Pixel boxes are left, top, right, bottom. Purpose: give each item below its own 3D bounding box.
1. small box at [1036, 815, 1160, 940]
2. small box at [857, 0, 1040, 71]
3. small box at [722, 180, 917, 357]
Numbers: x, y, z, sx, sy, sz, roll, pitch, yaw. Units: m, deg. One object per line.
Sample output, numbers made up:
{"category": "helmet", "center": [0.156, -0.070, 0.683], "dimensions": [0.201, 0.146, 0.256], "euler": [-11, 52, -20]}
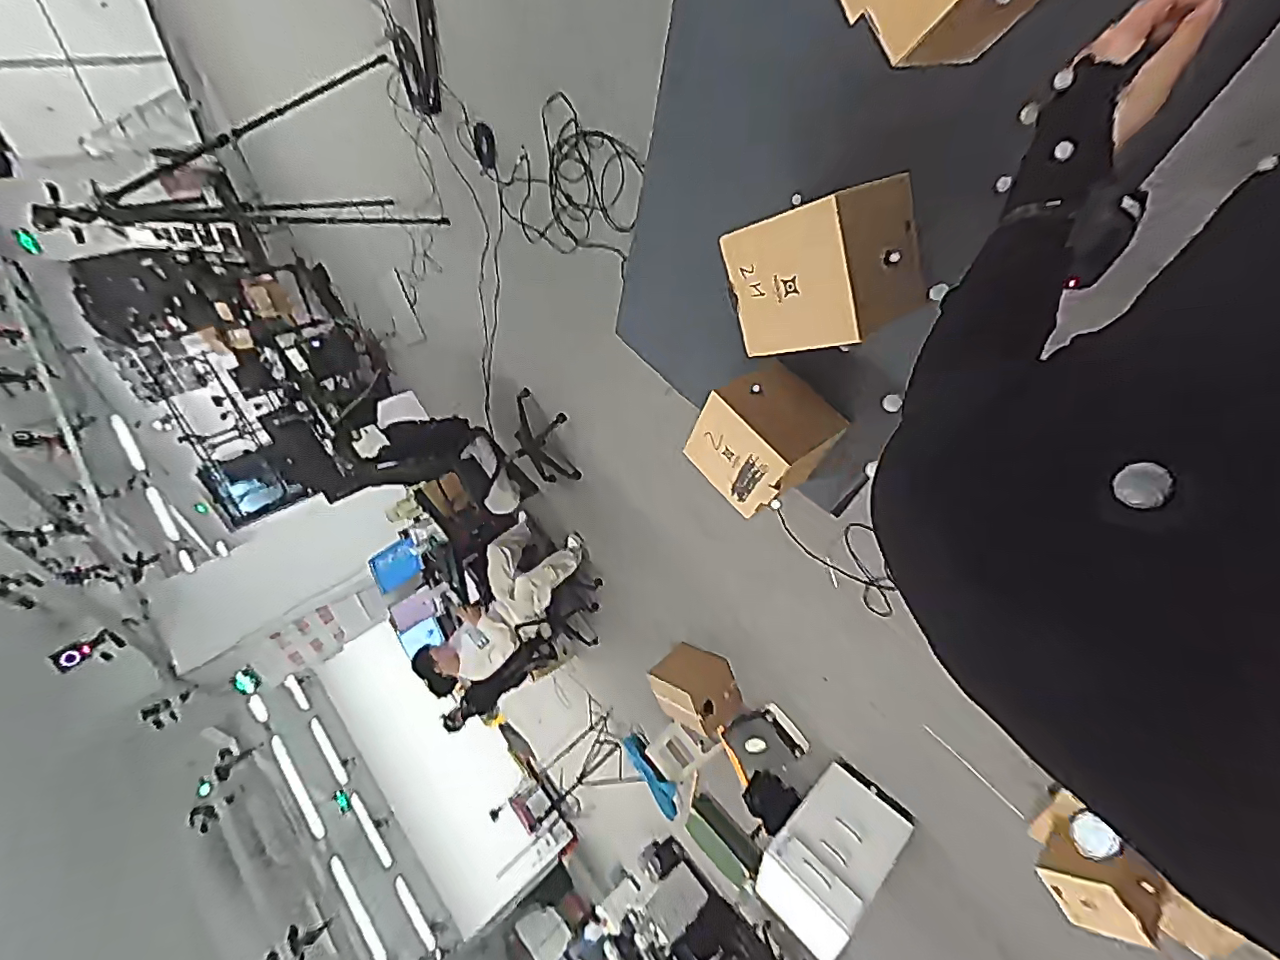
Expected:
{"category": "small box", "center": [1.146, 0.978, 1.350], "dimensions": [0.168, 0.176, 0.179], "euler": [56, 147, 4]}
{"category": "small box", "center": [0.292, -0.497, 0.456], "dimensions": [0.168, 0.176, 0.179], "euler": [61, 150, -2]}
{"category": "small box", "center": [0.244, -0.275, 0.715], "dimensions": [0.179, 0.176, 0.168], "euler": [8, 122, 52]}
